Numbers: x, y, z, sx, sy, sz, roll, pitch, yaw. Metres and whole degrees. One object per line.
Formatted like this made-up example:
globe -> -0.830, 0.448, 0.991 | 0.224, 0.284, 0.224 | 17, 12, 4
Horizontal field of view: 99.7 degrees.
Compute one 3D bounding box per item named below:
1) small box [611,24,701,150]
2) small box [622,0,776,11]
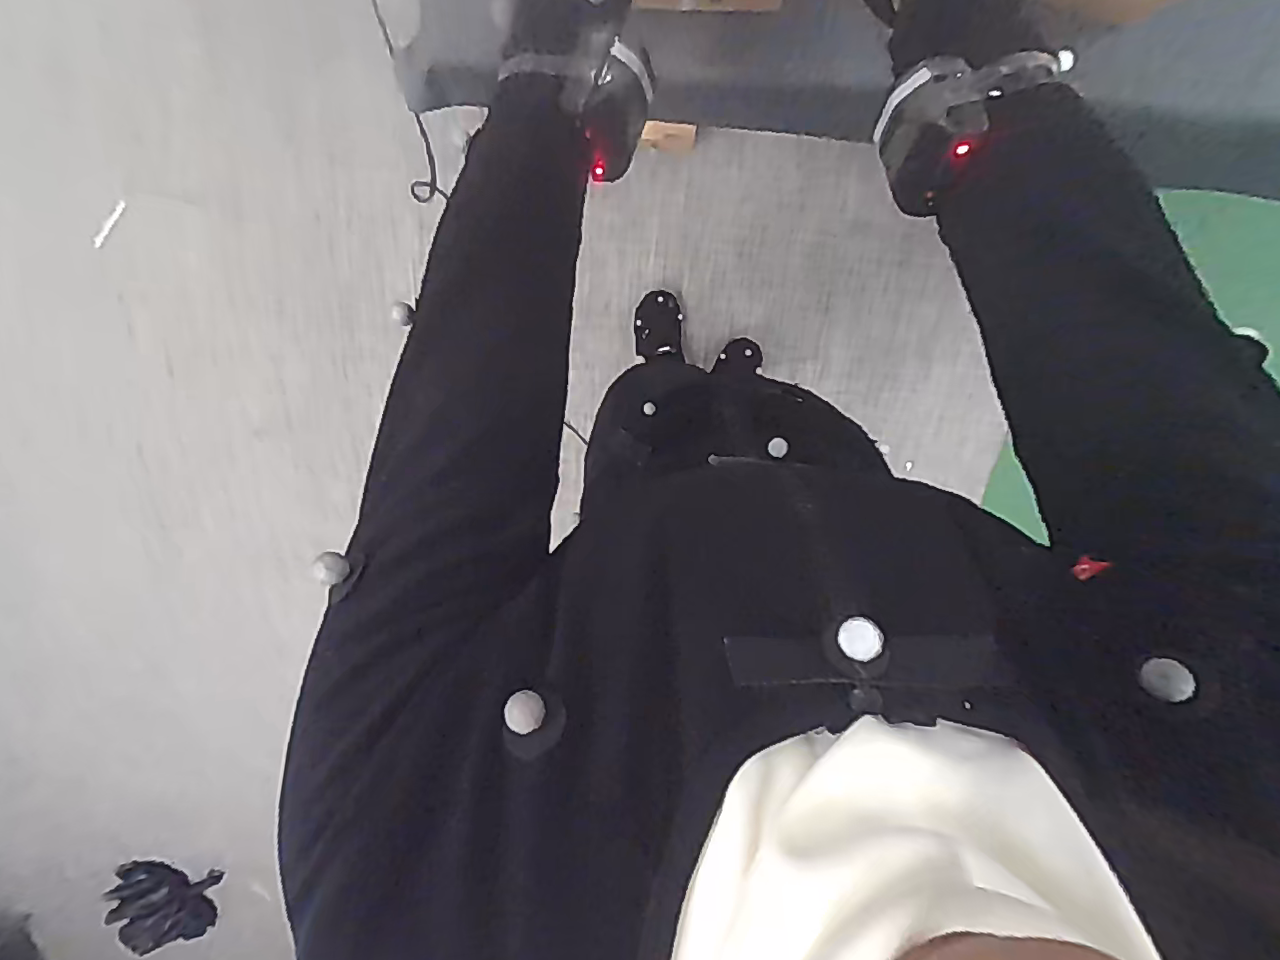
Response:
small box -> 0.031, -0.775, 1.085 | 0.168, 0.176, 0.179 | 1, 112, 1
small box -> 0.054, -0.499, 0.403 | 0.168, 0.176, 0.179 | -1, 111, -2
